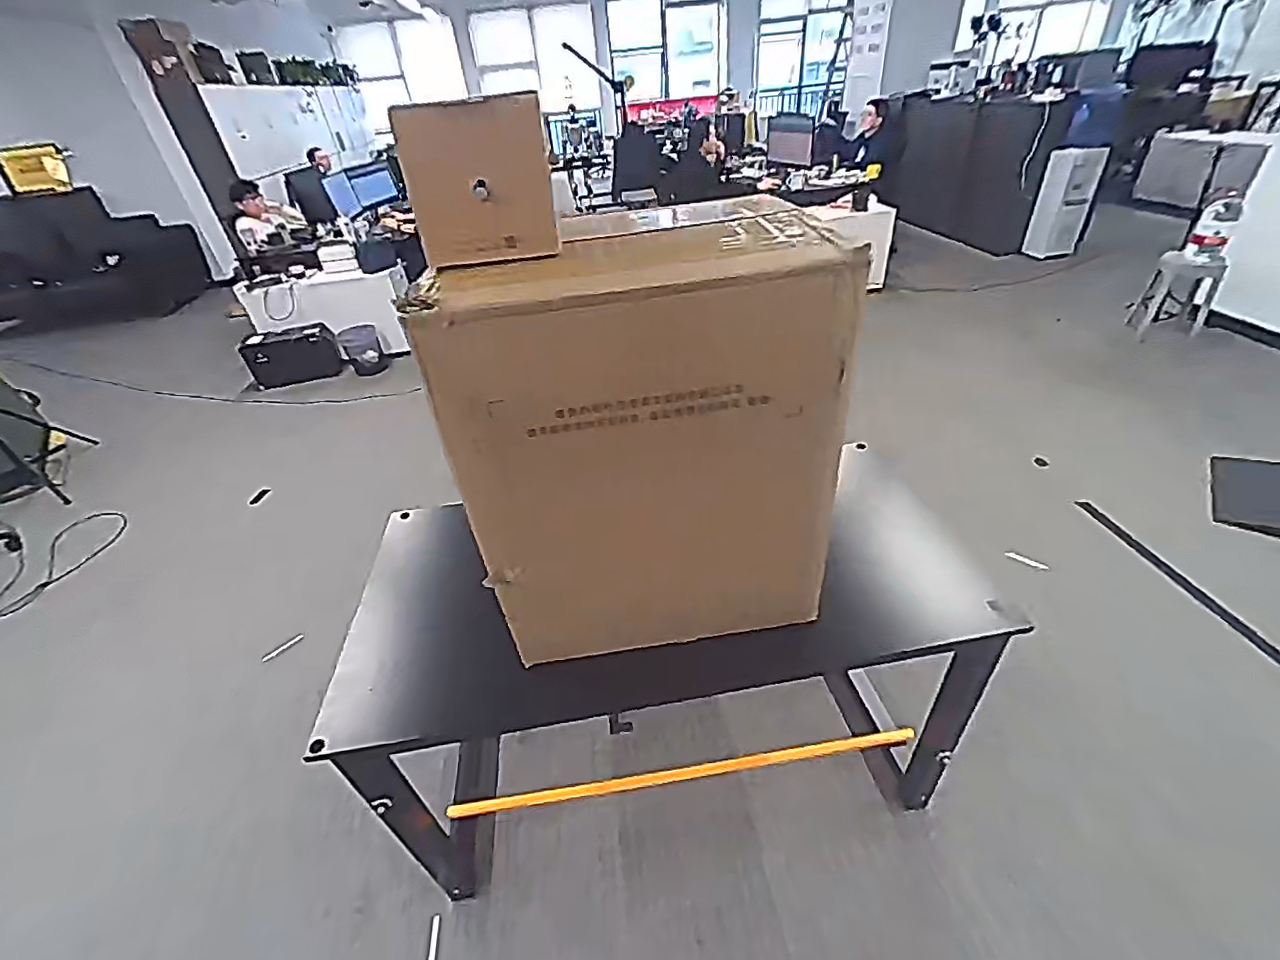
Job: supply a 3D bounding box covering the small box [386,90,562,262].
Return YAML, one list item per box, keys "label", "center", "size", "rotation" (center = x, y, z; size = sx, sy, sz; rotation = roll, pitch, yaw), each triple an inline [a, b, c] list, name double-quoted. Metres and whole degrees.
- label: "small box"
  center: [-0.194, -0.384, 0.688]
  size: [0.168, 0.176, 0.179]
  rotation: [-8, 35, -5]
